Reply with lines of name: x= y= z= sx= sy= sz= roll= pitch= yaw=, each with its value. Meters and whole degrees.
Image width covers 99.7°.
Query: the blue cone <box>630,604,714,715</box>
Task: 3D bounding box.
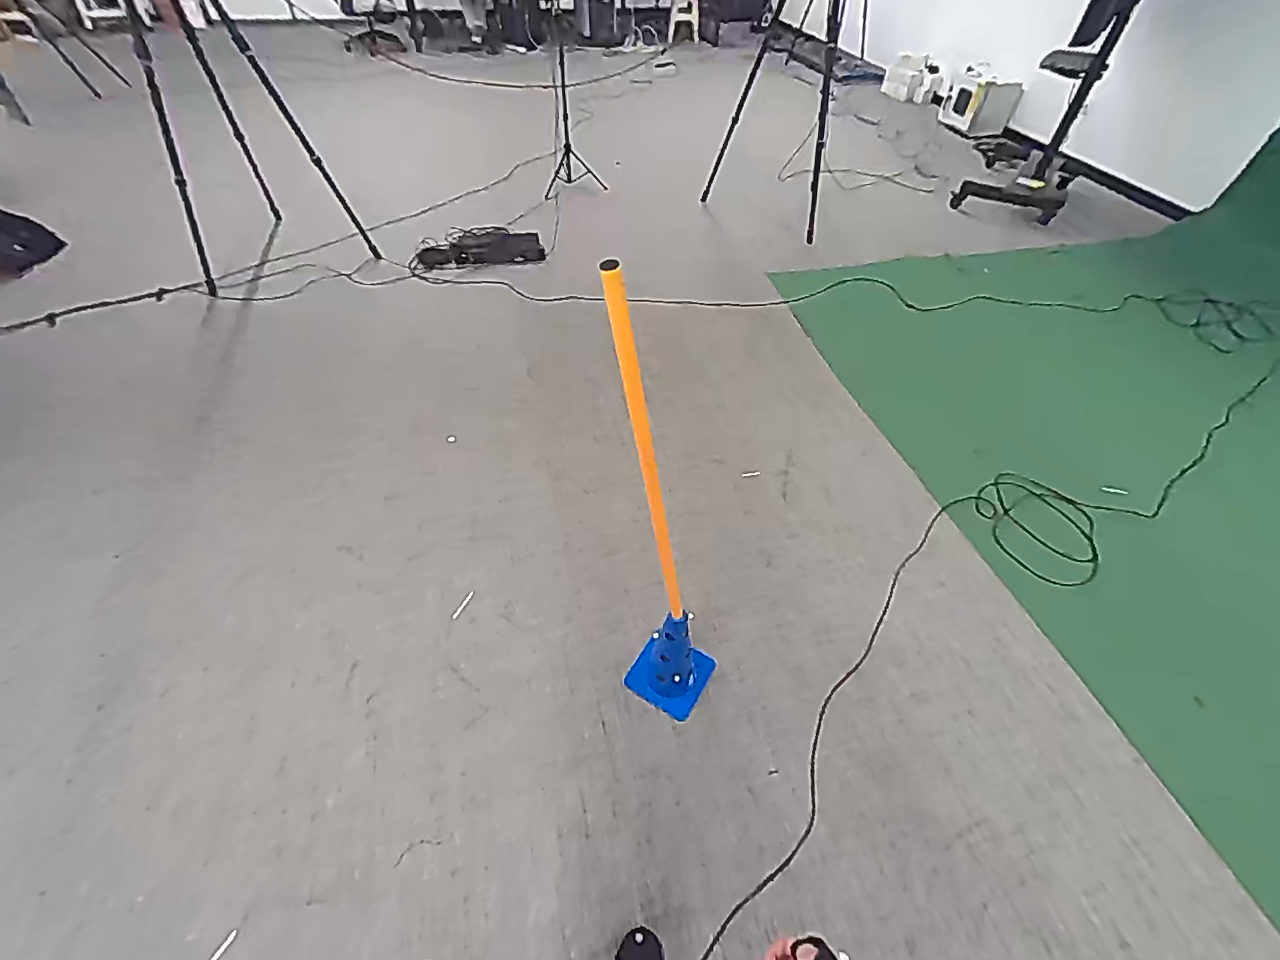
blue cone: x=0.084 y=0.422 z=1.354 sx=0.193 sy=0.380 sz=0.192 roll=24 pitch=54 yaw=20
